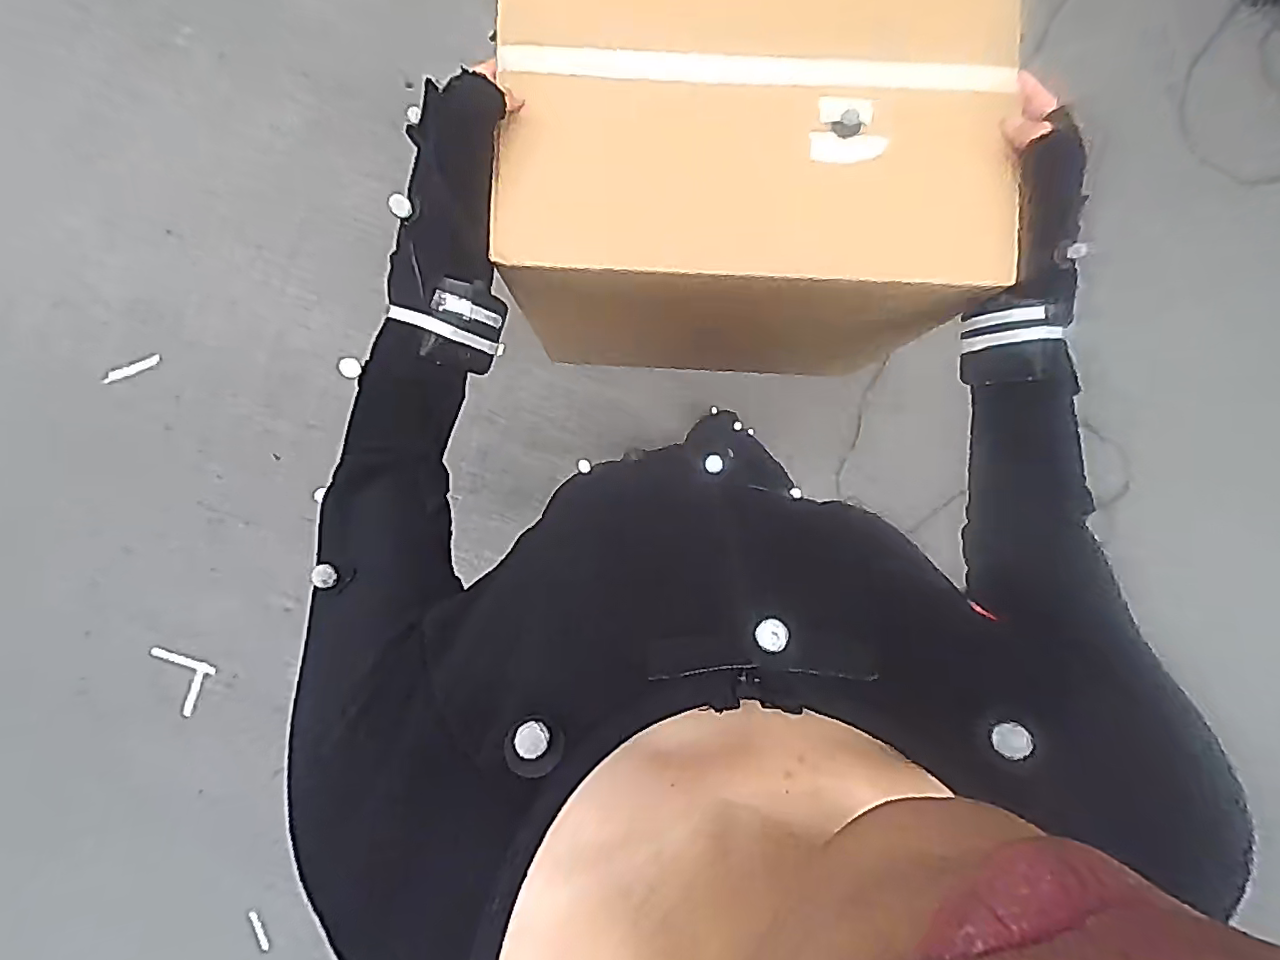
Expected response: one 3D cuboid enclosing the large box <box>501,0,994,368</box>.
[{"bbox_3d":[0.084,-0.311,0.586,0.408,0.320,0.320,1,88,-1],"label":"large box"}]
